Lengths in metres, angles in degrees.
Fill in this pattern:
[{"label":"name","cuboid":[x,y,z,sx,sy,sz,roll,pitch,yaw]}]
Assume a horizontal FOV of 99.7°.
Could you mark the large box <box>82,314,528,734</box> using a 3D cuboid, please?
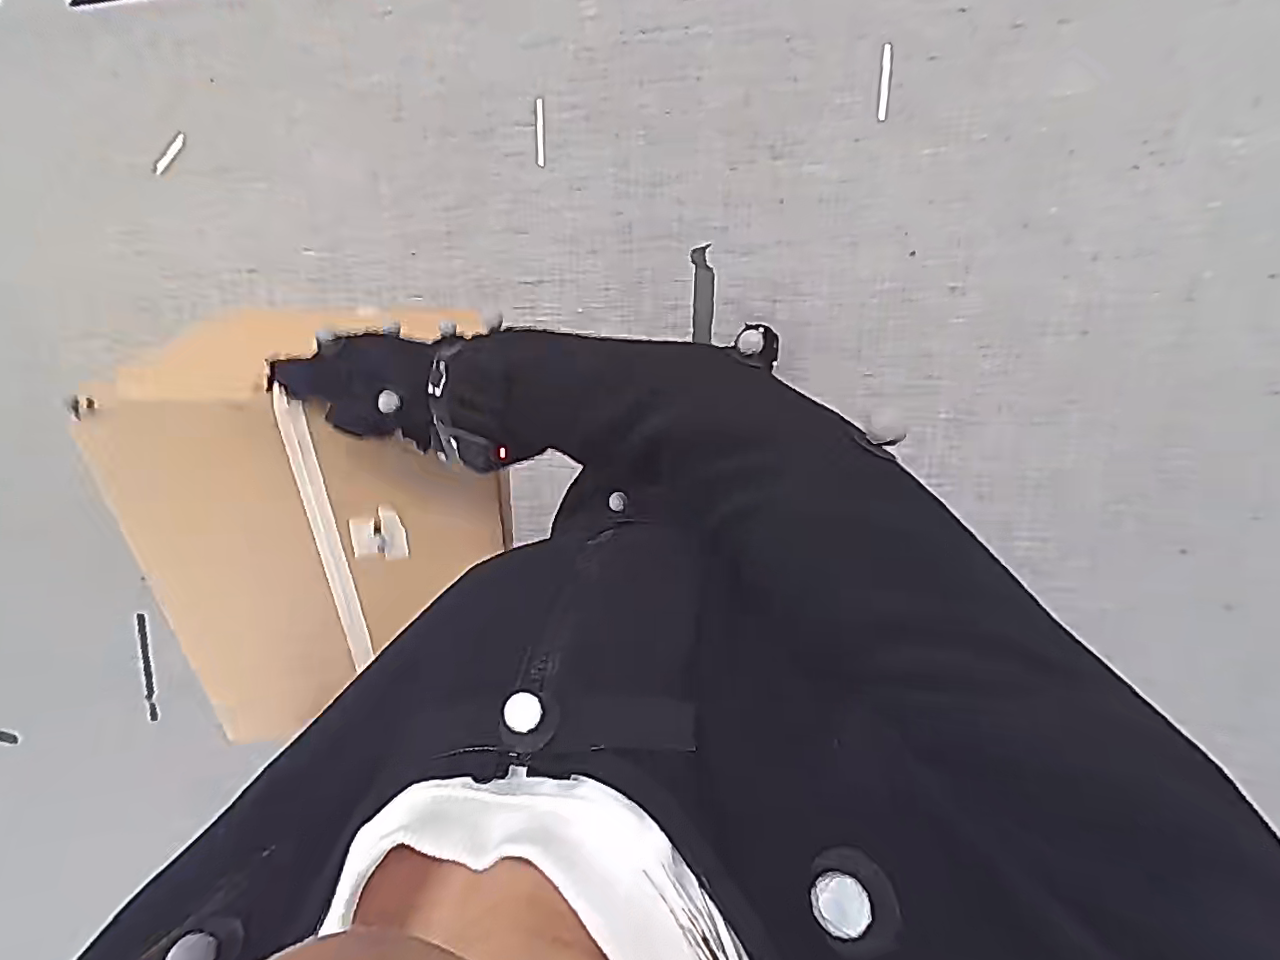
[{"label":"large box","cuboid":[-0.320,0.030,0.670,0.320,0.320,0.408,-6,119,-12]}]
